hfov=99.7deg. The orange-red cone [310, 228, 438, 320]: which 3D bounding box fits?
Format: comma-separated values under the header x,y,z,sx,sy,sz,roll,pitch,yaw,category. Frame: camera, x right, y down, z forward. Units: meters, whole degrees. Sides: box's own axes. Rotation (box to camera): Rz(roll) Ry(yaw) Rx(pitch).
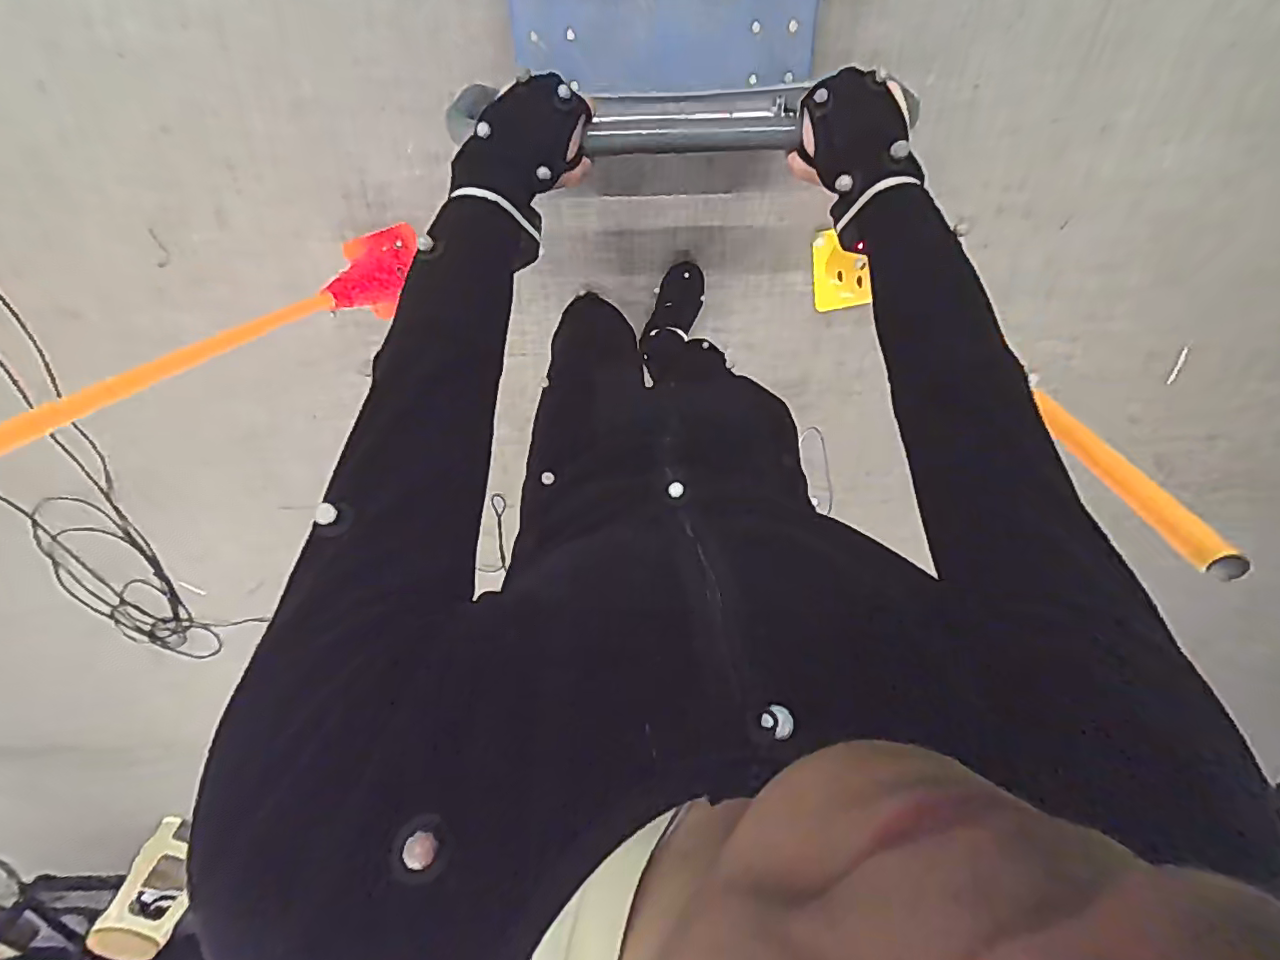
x,y,z,sx,sy,sz,roll,pitch,yaw,category
-0.648,-0.444,1.248,0.199,0.360,0.198,-13,118,9,orange-red cone
